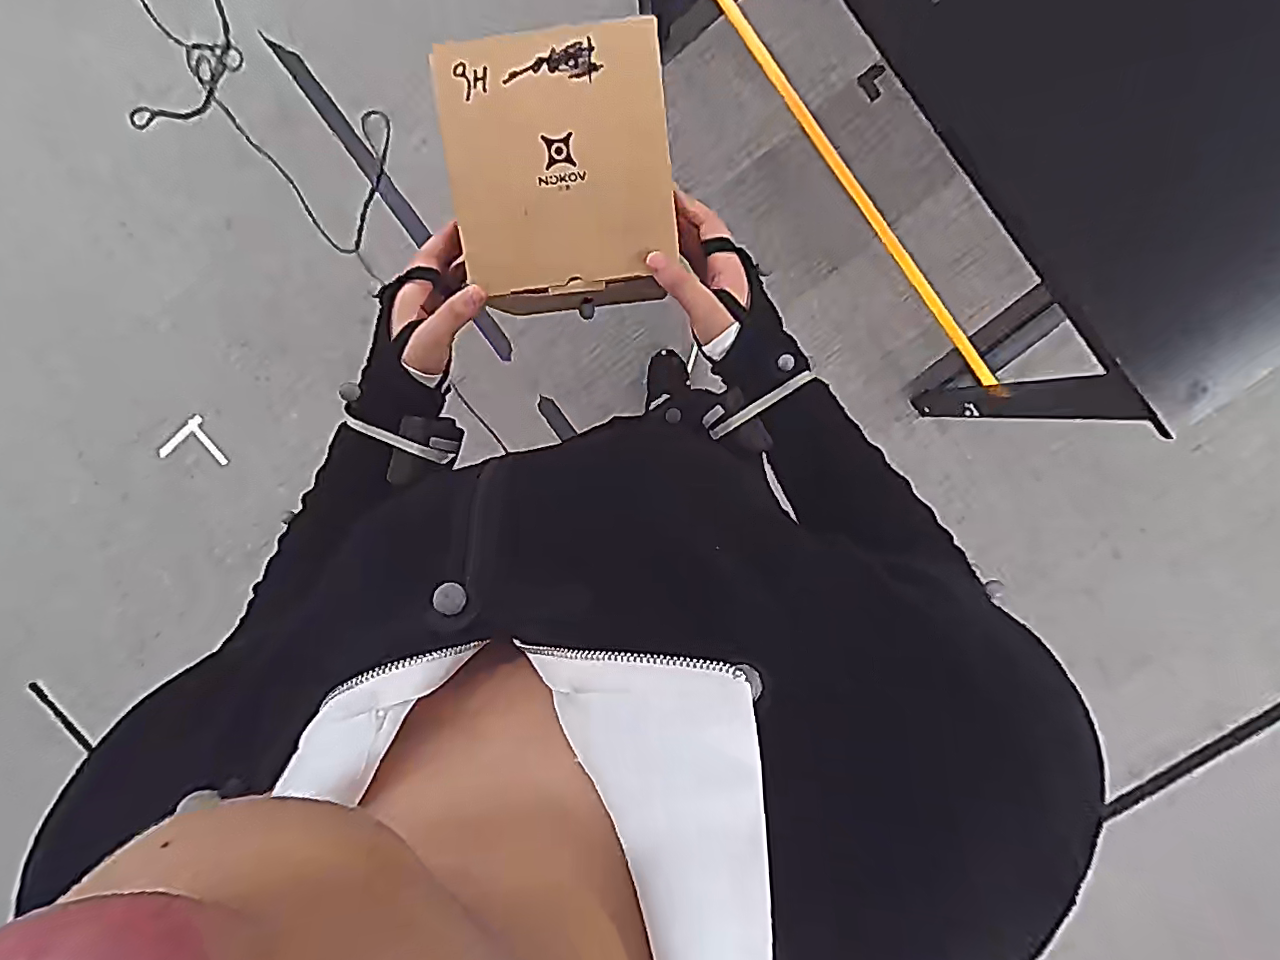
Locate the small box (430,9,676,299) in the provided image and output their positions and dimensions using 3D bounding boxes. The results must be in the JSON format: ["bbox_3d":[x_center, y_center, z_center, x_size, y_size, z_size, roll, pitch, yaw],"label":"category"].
[{"bbox_3d":[-0.060,-0.259,0.479,0.168,0.176,0.179,-7,105,1],"label":"small box"}]
